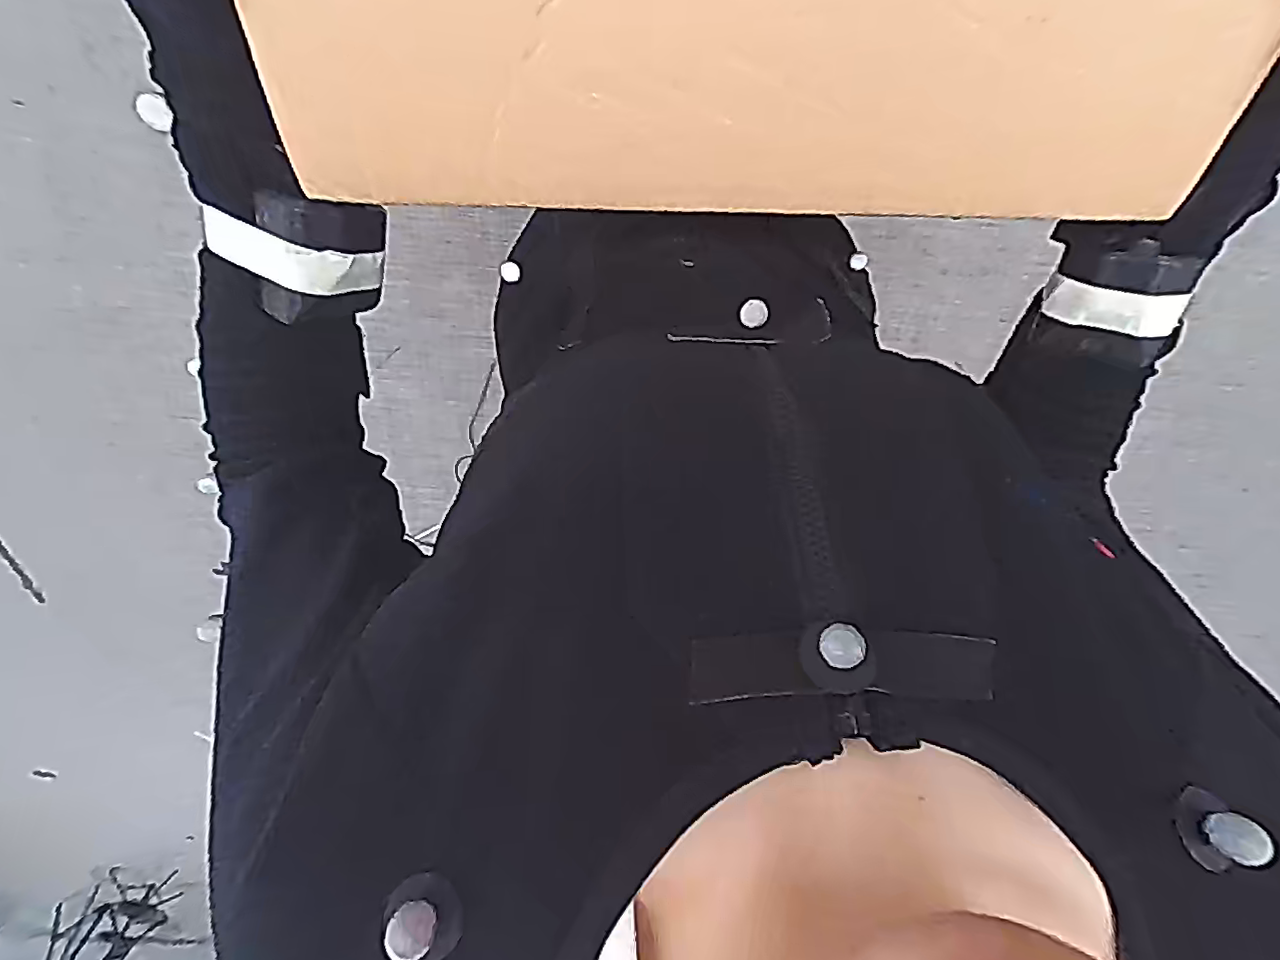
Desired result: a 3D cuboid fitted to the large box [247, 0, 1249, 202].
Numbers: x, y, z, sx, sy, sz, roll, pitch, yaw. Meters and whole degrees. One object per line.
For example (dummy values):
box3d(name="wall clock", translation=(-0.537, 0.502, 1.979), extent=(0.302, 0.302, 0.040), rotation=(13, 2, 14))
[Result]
box3d(name="large box", translation=(0.045, -0.349, 0.262), extent=(0.408, 0.320, 0.320), rotation=(-1, 132, -4))
